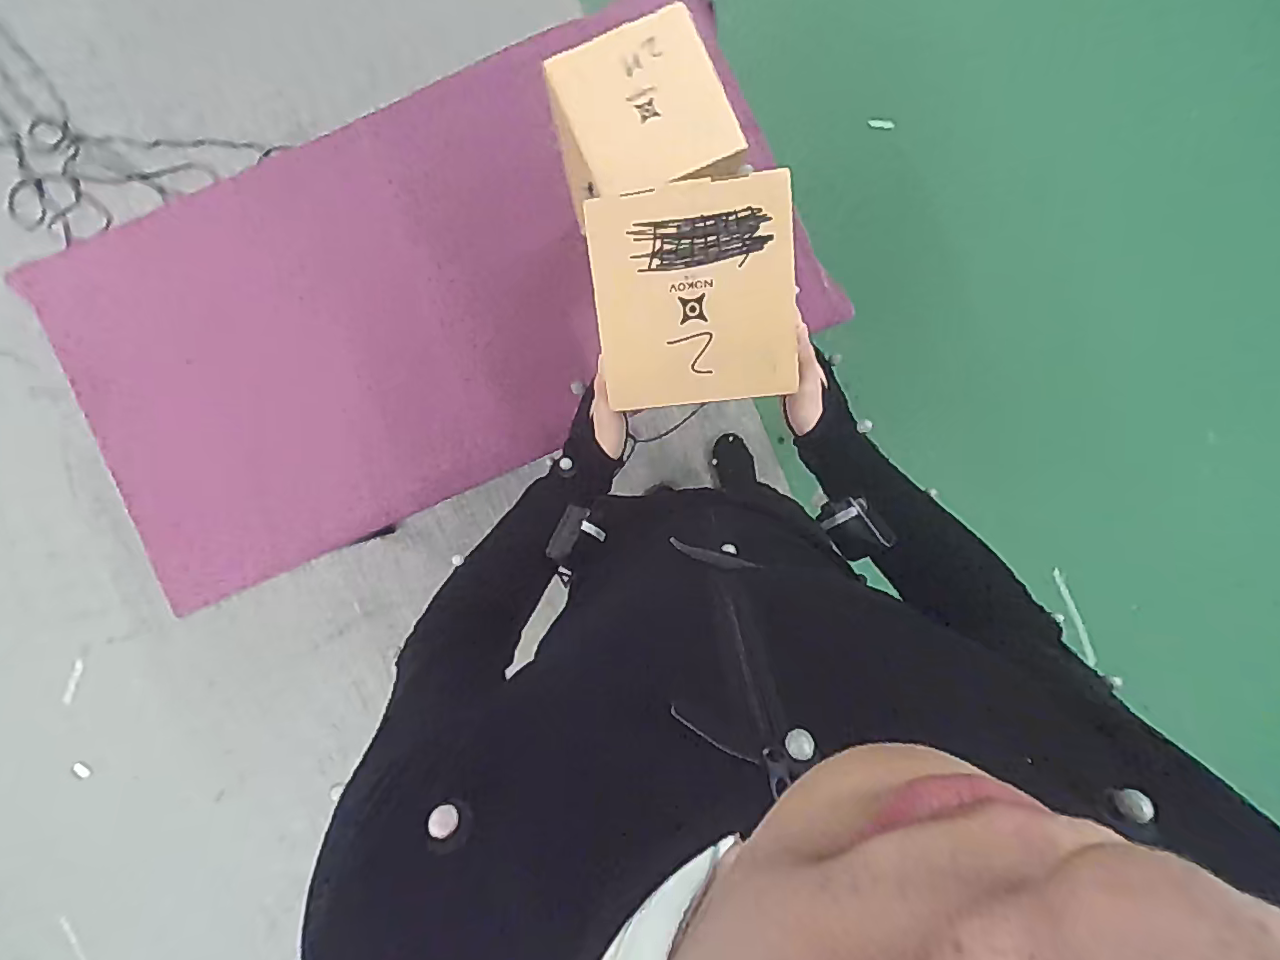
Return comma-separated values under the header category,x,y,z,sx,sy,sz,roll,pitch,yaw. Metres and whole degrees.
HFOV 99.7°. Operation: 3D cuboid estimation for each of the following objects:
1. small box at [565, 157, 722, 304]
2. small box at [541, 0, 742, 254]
category,x,y,z,sx,sy,sz,roll,pitch,yaw
small box,0.005,-0.397,0.812,0.168,0.176,0.179,-25,89,1
small box,0.003,-0.398,0.647,0.168,0.176,0.179,-24,89,0
